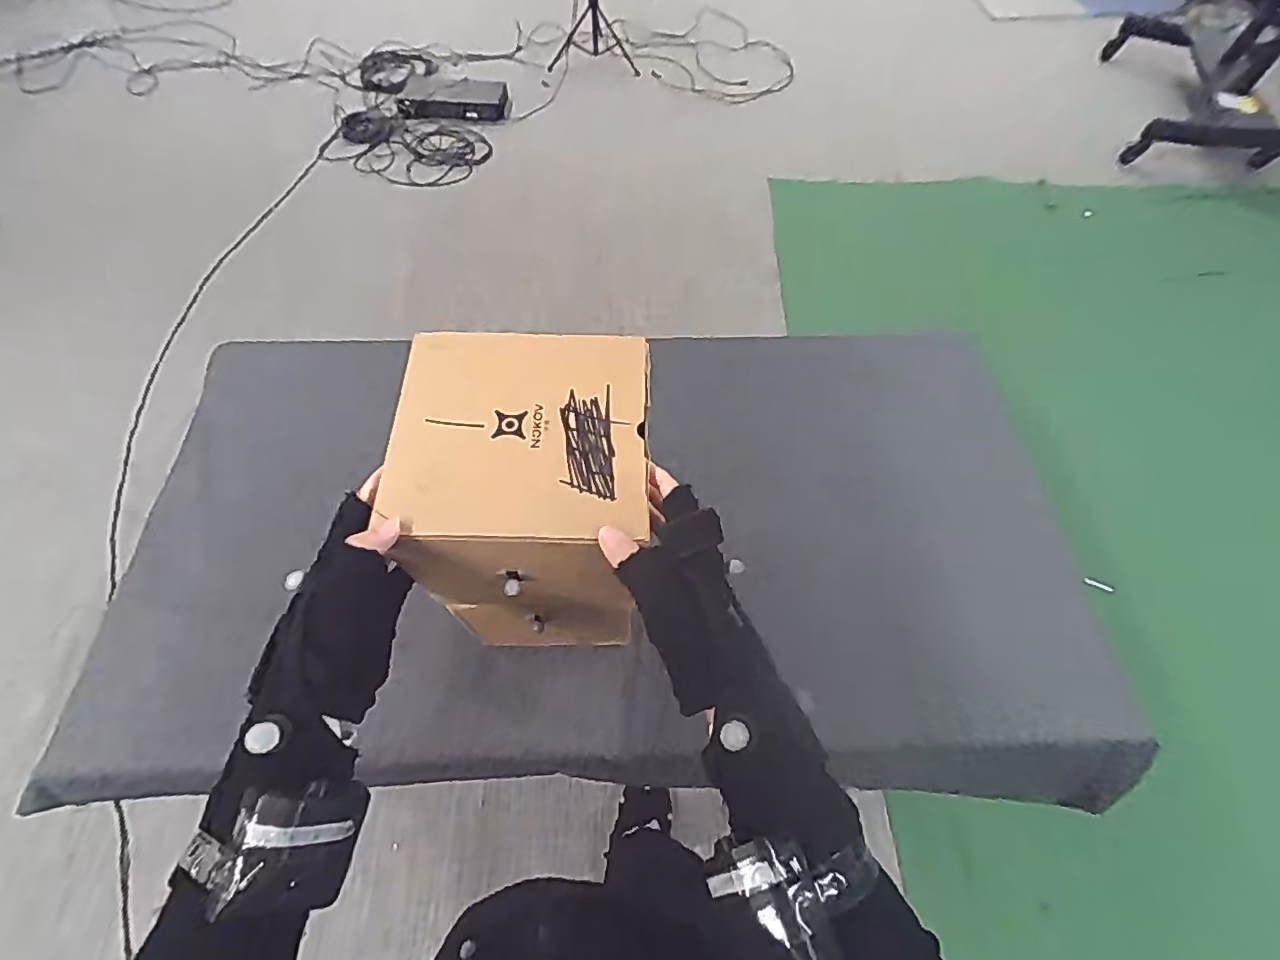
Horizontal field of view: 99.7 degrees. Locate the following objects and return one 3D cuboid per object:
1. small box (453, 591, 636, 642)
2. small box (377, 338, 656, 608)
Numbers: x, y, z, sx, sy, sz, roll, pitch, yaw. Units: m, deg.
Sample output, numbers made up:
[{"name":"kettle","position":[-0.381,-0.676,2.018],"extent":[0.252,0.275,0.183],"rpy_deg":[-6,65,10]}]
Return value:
[{"name":"small box","position":[-0.093,0.086,0.616],"extent":[0.179,0.176,0.168],"rpy_deg":[0,63,-2]},{"name":"small box","position":[-0.081,0.005,0.446],"extent":[0.179,0.176,0.168],"rpy_deg":[0,64,-2]}]
